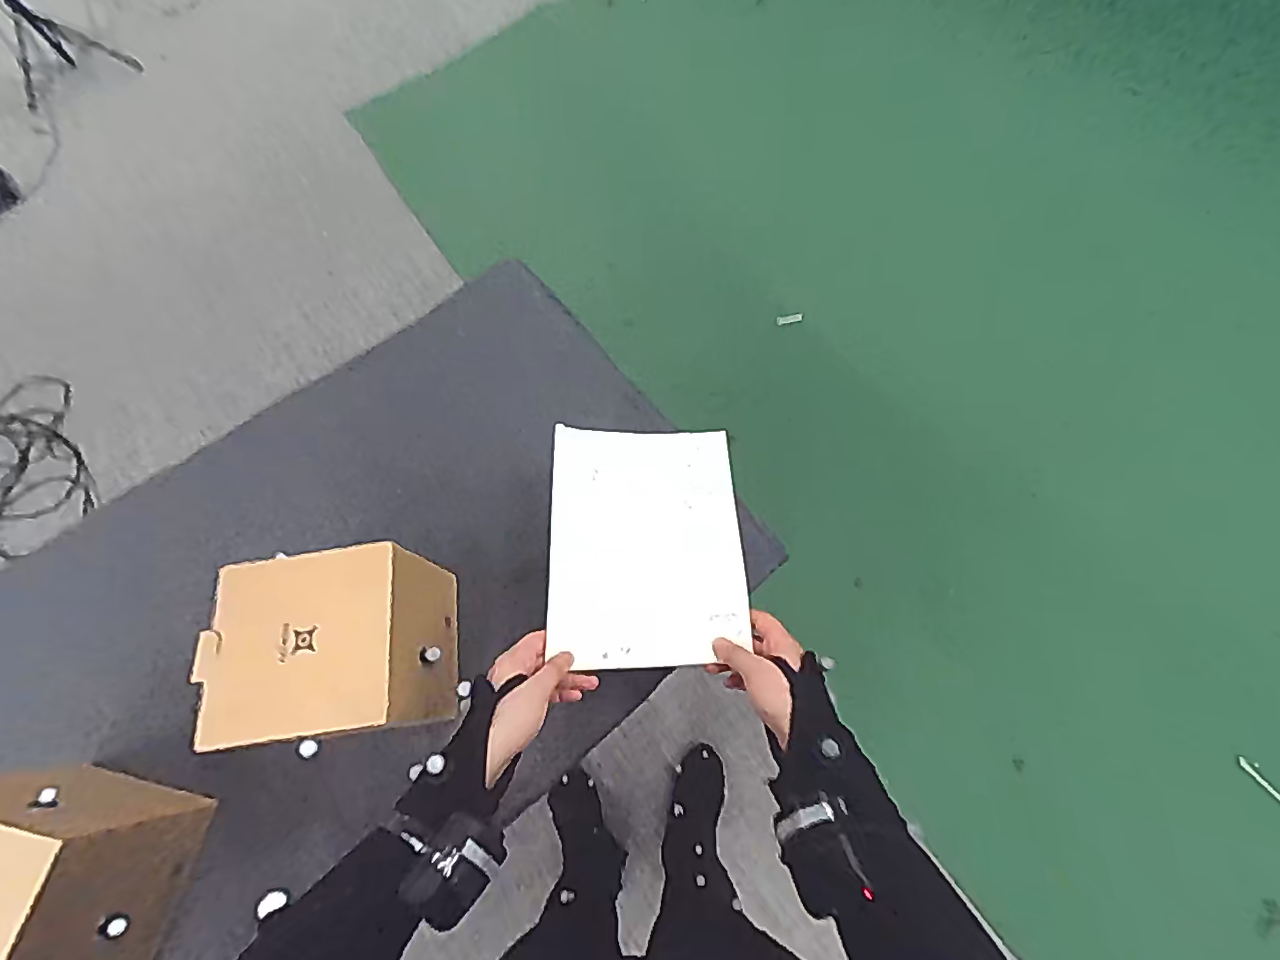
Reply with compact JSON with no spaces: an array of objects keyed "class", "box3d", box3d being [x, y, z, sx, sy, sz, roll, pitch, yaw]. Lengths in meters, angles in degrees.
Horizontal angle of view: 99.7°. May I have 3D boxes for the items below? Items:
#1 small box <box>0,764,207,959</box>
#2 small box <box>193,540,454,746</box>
[{"class":"small box","box3d":[-0.573,0.382,0.508,0.179,0.176,0.168,10,70,7]},{"class":"small box","box3d":[-0.307,0.171,0.570,0.179,0.176,0.168,-9,69,1]}]
